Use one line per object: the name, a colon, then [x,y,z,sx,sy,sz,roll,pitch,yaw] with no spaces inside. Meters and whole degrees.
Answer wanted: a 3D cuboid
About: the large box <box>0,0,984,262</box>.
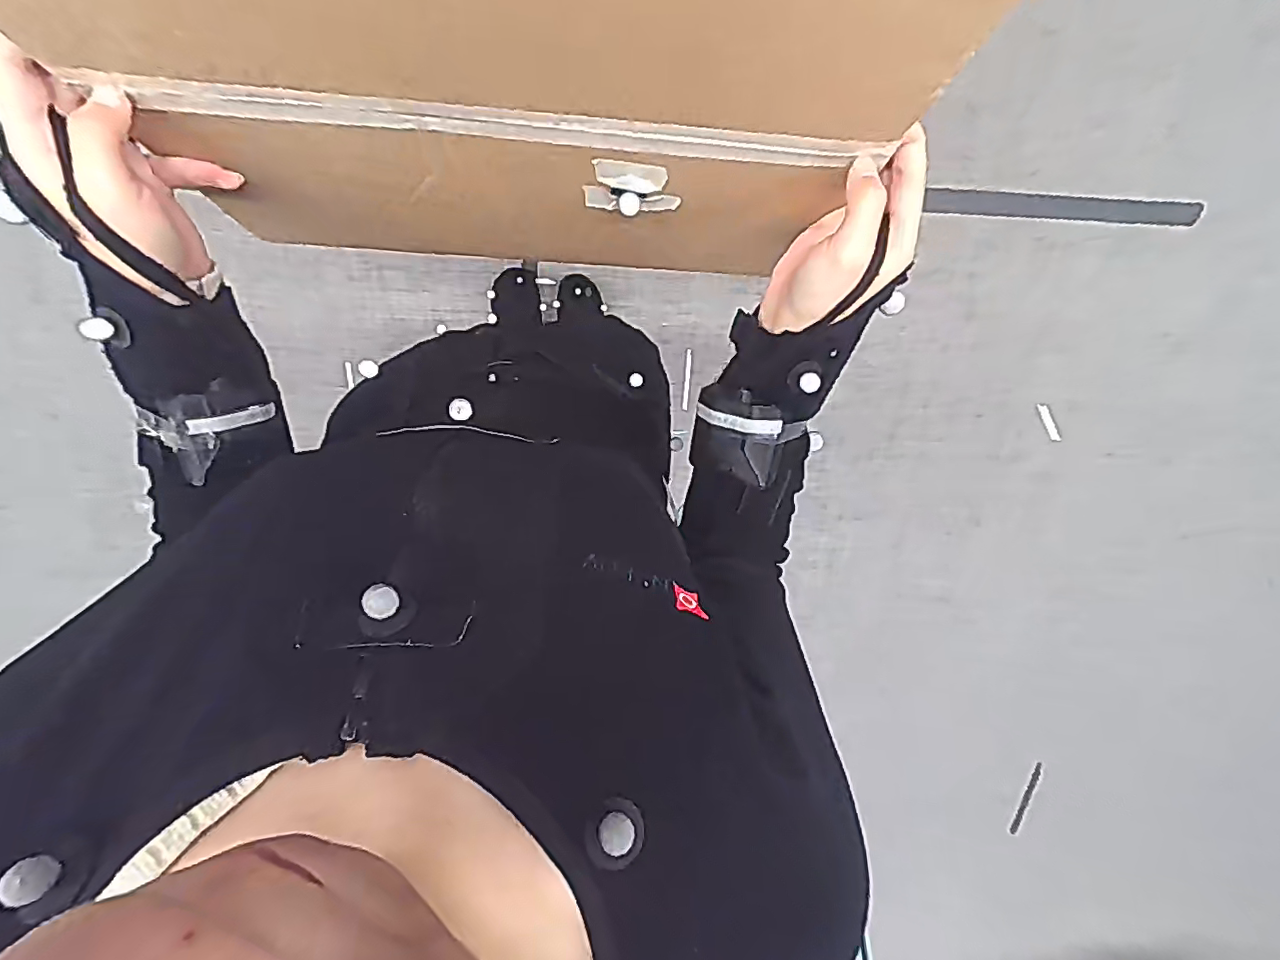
large box: [-0.068,-0.338,0.282,0.408,0.320,0.320,1,88,-5]
